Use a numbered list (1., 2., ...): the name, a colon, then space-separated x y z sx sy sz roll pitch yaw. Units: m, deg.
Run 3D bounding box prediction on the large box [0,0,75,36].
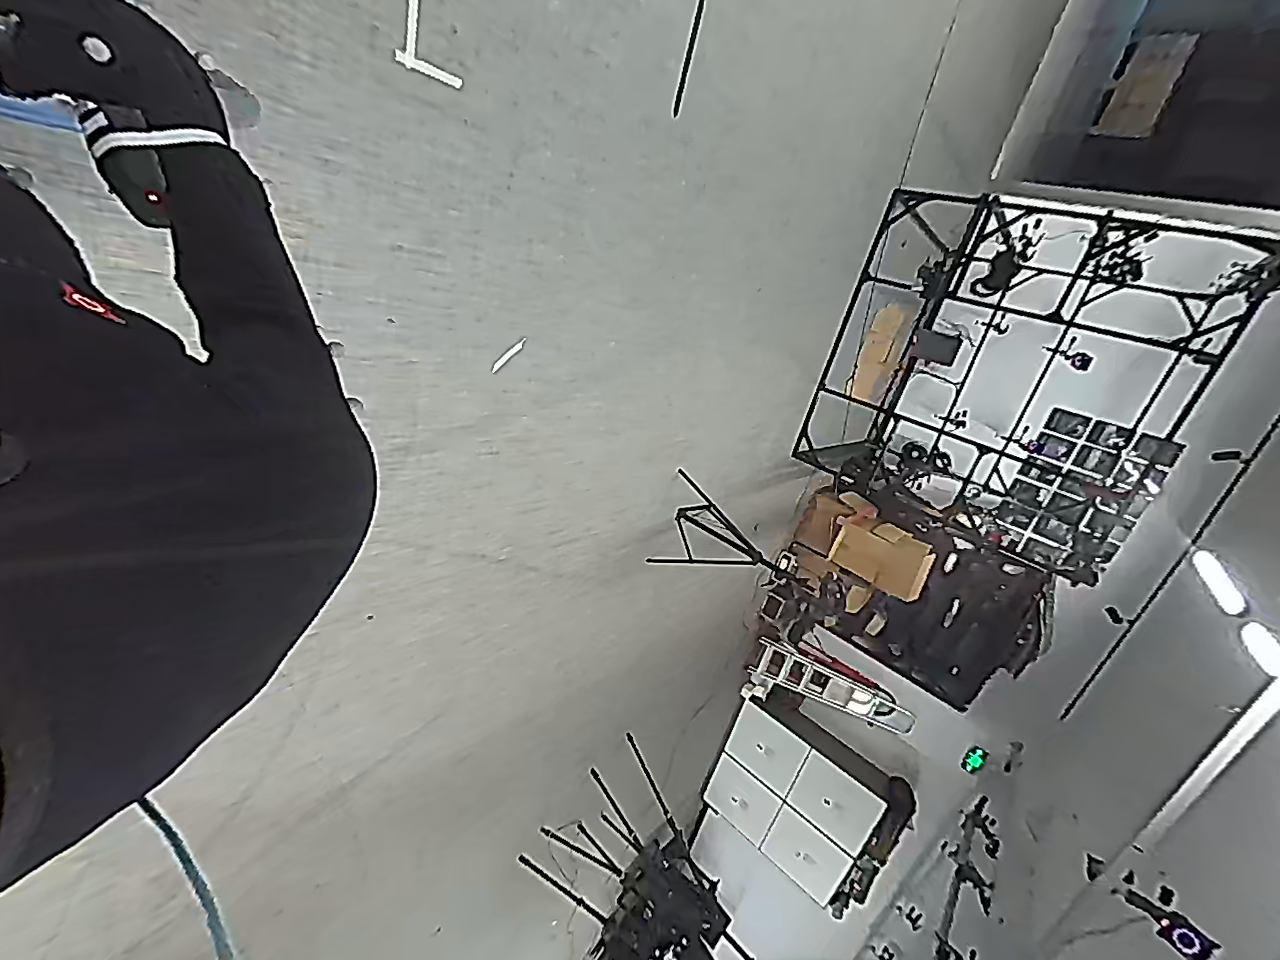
1. large box: -0.859 -0.684 0.496 0.408 0.320 0.320 -15 126 -52
